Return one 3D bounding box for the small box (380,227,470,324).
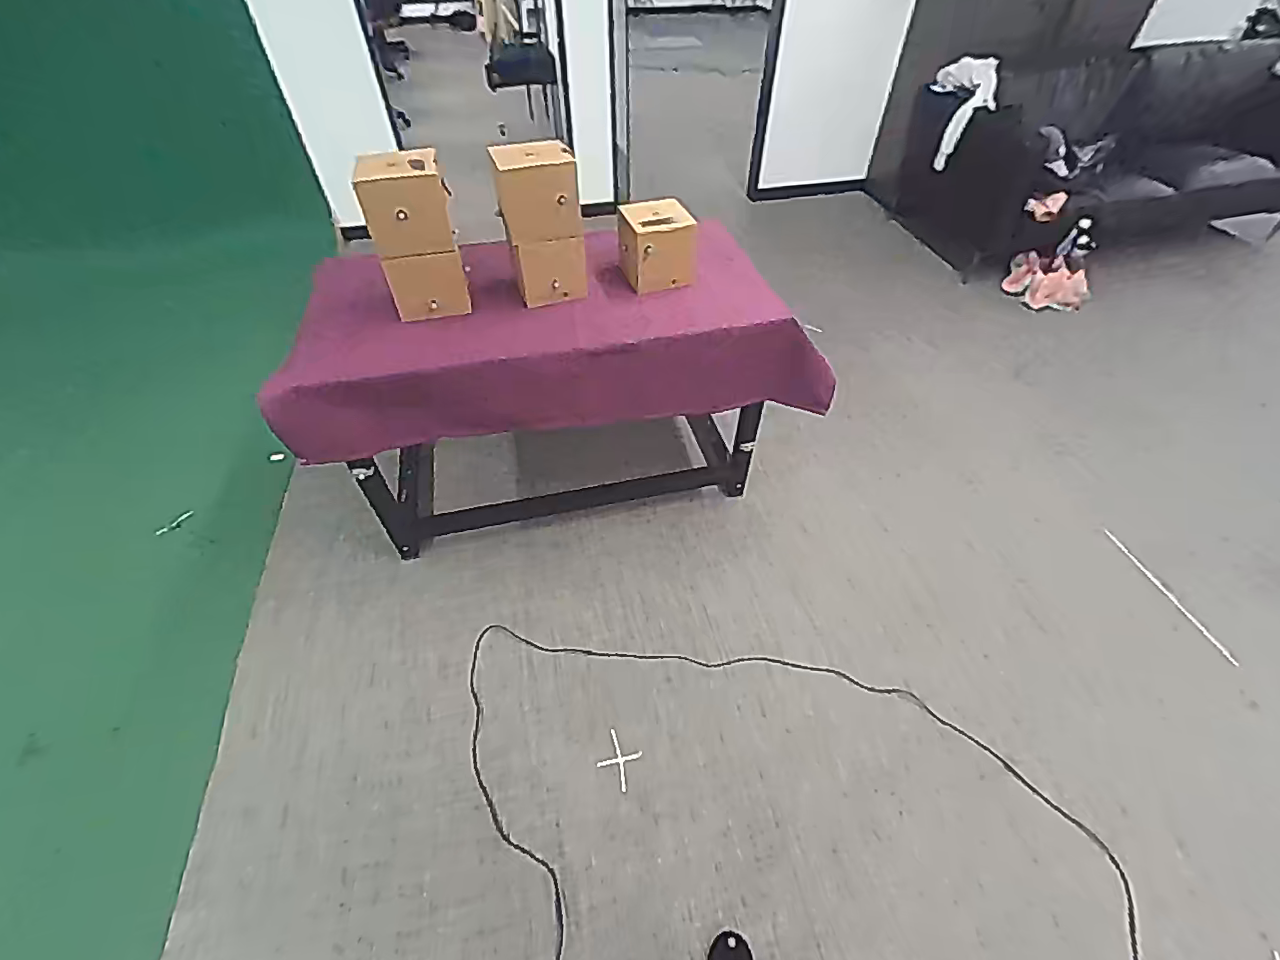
[{"bbox_3d":[-0.536,-0.517,1.368,0.179,0.176,0.168,-12,50,-10],"label":"small box"}]

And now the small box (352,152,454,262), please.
[{"bbox_3d":[-0.535,-0.626,1.245,0.179,0.176,0.168,-12,50,-9],"label":"small box"}]

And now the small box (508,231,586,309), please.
[{"bbox_3d":[-0.248,-0.577,1.421,0.168,0.176,0.179,-16,51,-13],"label":"small box"}]

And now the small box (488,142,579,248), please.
[{"bbox_3d":[-0.250,-0.682,1.296,0.179,0.176,0.168,-15,50,-12],"label":"small box"}]
